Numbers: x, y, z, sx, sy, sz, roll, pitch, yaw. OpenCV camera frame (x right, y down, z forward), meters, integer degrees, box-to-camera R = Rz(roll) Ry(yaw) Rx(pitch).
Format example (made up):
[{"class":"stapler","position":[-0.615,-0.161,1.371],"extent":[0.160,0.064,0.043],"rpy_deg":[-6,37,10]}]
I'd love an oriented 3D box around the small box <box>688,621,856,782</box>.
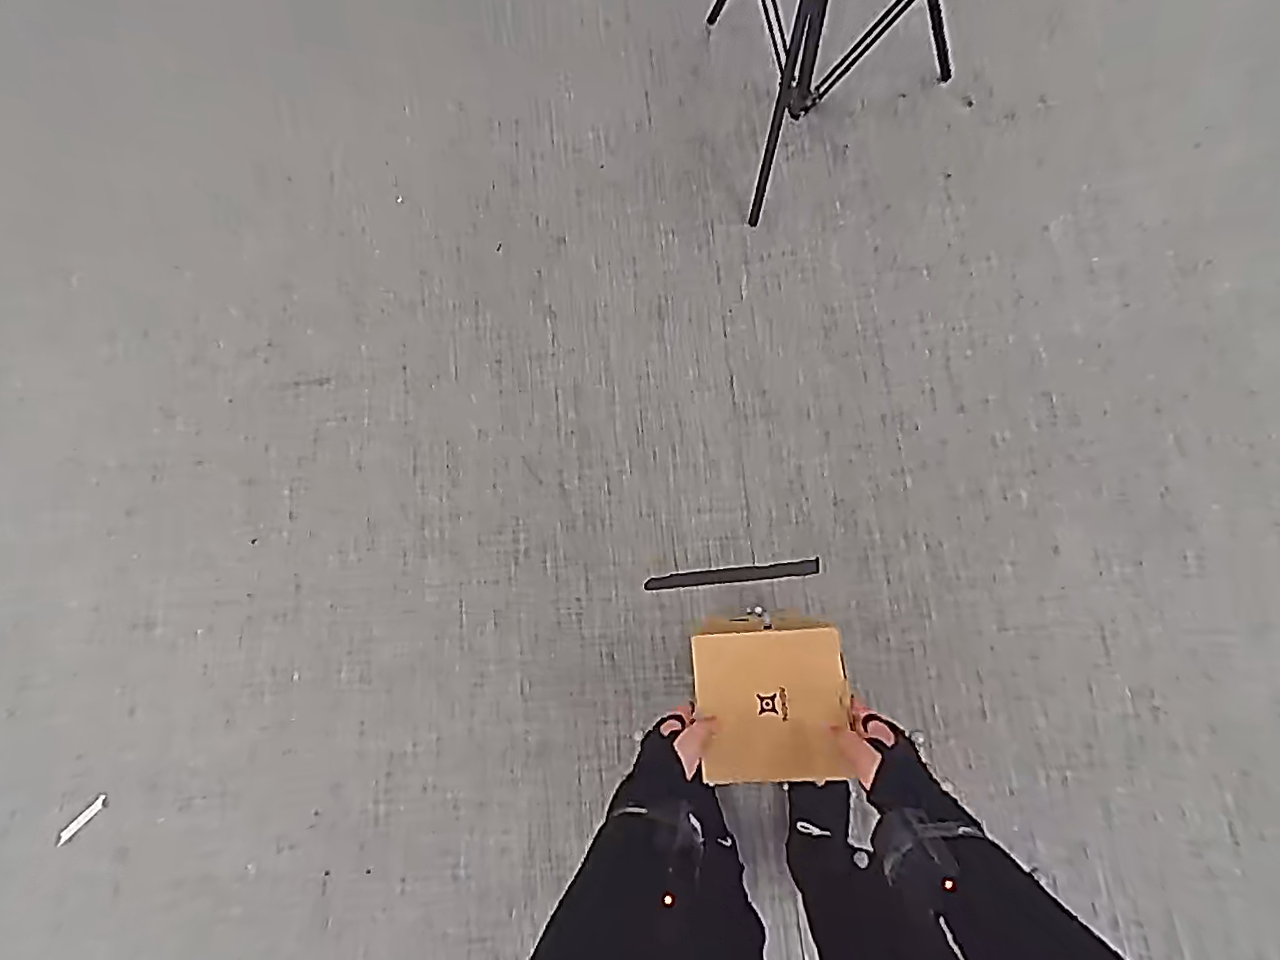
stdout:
[{"class":"small box","position":[0.160,0.274,0.698],"extent":[0.179,0.176,0.168],"rpy_deg":[-6,78,7]}]
